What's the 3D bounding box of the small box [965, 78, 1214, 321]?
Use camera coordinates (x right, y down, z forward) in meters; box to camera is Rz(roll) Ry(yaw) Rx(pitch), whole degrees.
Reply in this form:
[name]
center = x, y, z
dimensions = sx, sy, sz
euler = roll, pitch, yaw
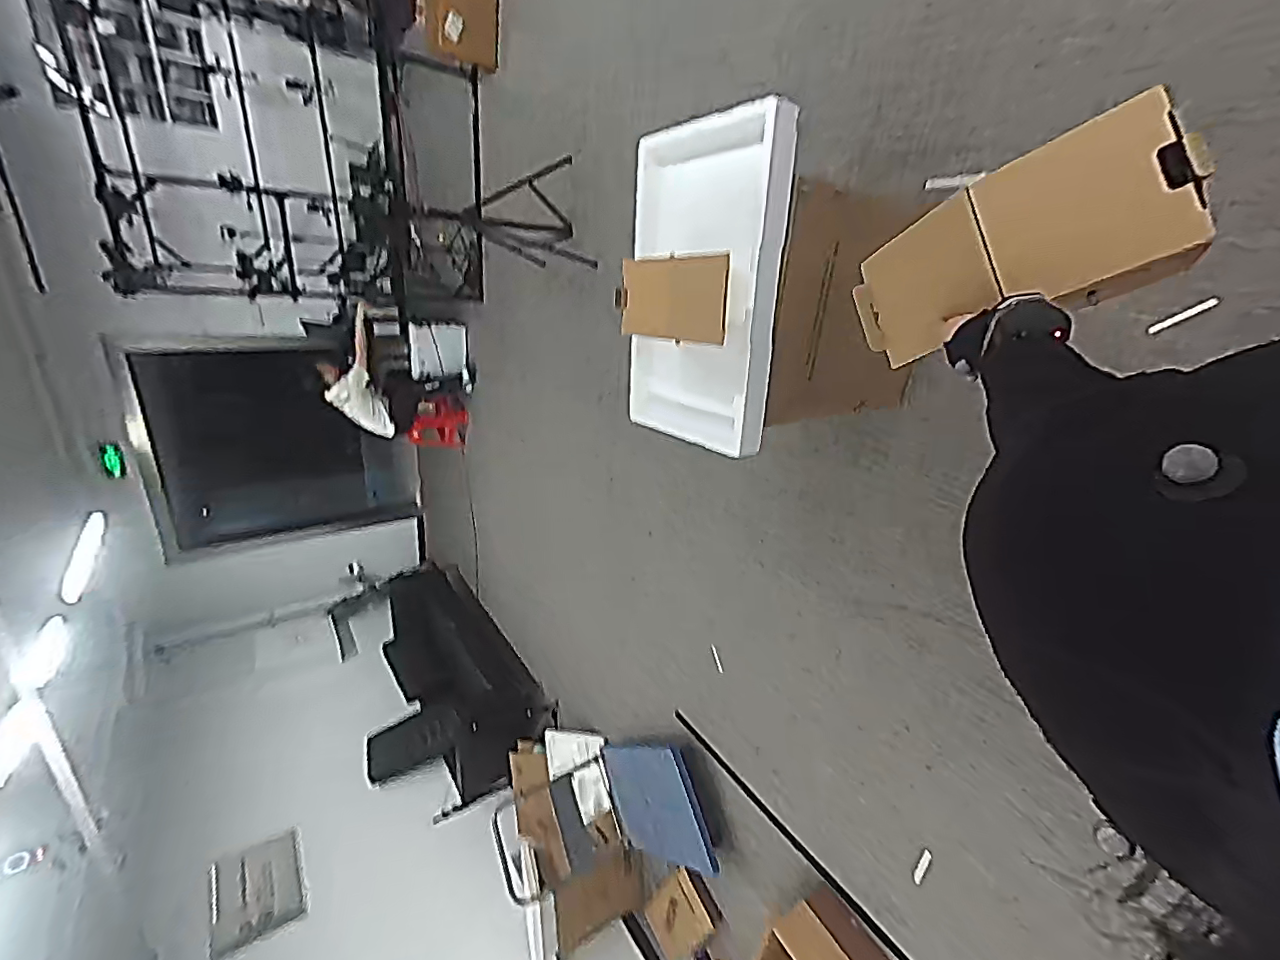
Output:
[small box]
center = 0.510, -0.298, 0.628
dimensions = 0.179, 0.176, 0.168
euler = -18, 86, 40
